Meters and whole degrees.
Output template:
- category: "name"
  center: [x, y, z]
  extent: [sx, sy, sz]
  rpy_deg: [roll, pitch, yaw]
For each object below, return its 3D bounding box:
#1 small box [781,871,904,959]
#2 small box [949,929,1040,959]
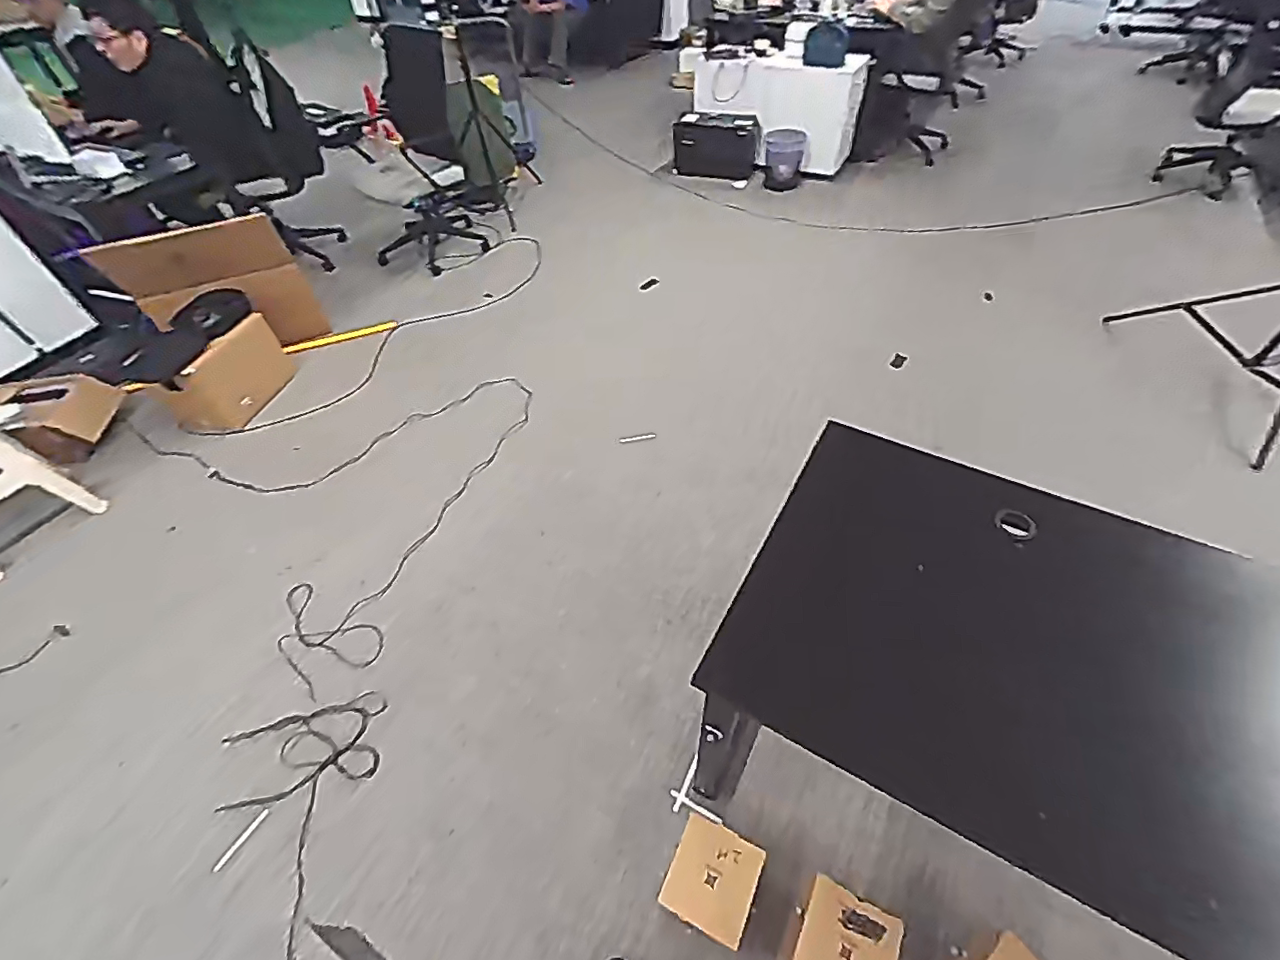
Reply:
- category: "small box"
  center: [0.388, 0.910, 1.057]
  extent: [0.168, 0.176, 0.179]
  rpy_deg: [21, 56, 21]
- category: "small box"
  center: [0.675, 0.970, 0.988]
  extent: [0.168, 0.176, 0.179]
  rpy_deg: [-32, 54, -23]
